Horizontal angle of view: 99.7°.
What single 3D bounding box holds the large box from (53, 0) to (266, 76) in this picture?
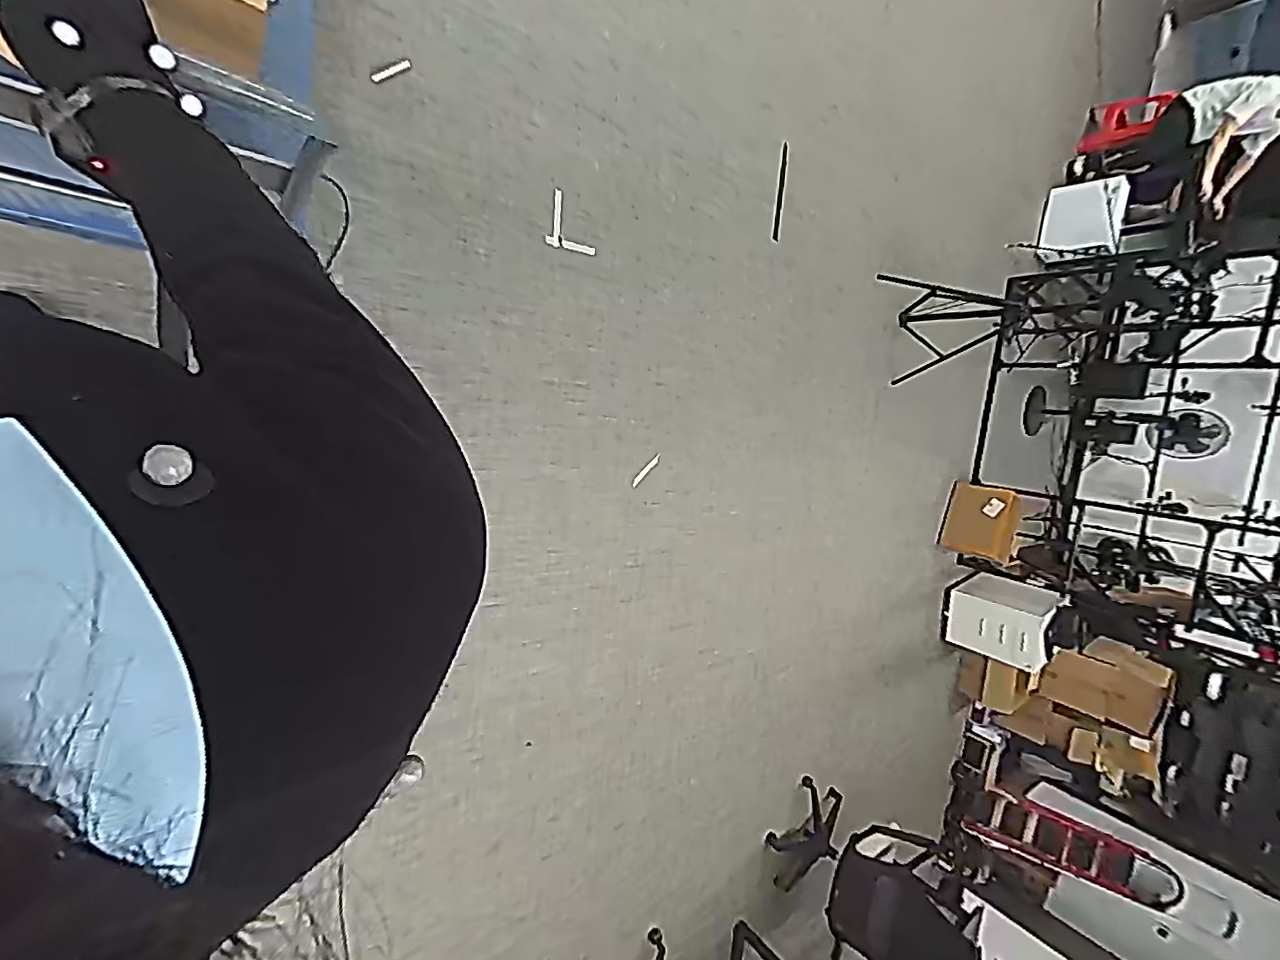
[{"bbox_3d":[-0.751,-0.857,0.731,0.408,0.320,0.320,3,97,-38],"label":"large box"}]
